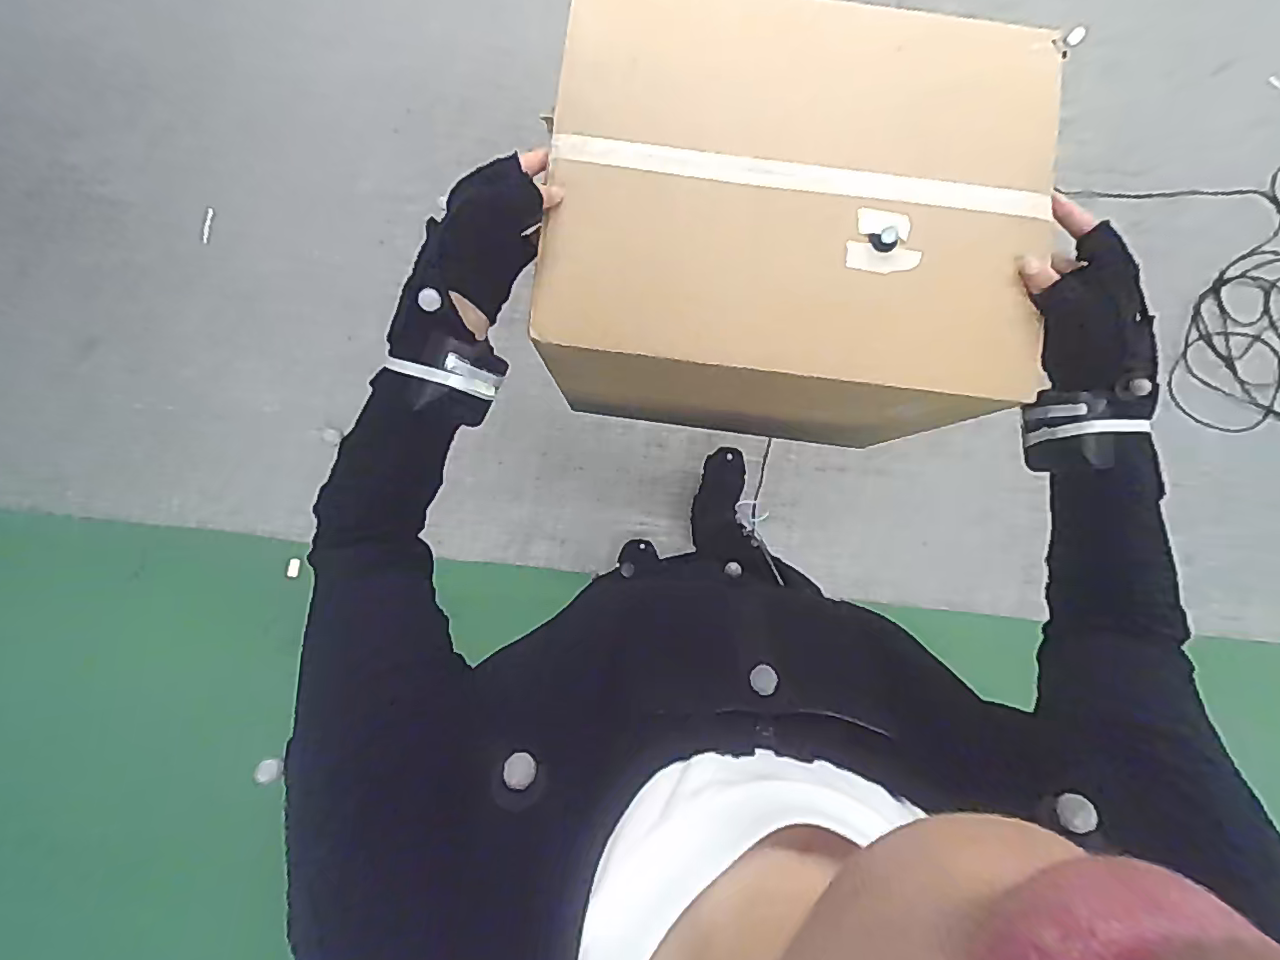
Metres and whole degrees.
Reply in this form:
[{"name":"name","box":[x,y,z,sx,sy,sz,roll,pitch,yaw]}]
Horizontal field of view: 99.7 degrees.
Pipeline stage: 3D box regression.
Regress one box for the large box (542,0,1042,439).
[{"name":"large box","box":[0.127,-0.236,0.596,0.408,0.320,0.320,7,87,-1]}]
